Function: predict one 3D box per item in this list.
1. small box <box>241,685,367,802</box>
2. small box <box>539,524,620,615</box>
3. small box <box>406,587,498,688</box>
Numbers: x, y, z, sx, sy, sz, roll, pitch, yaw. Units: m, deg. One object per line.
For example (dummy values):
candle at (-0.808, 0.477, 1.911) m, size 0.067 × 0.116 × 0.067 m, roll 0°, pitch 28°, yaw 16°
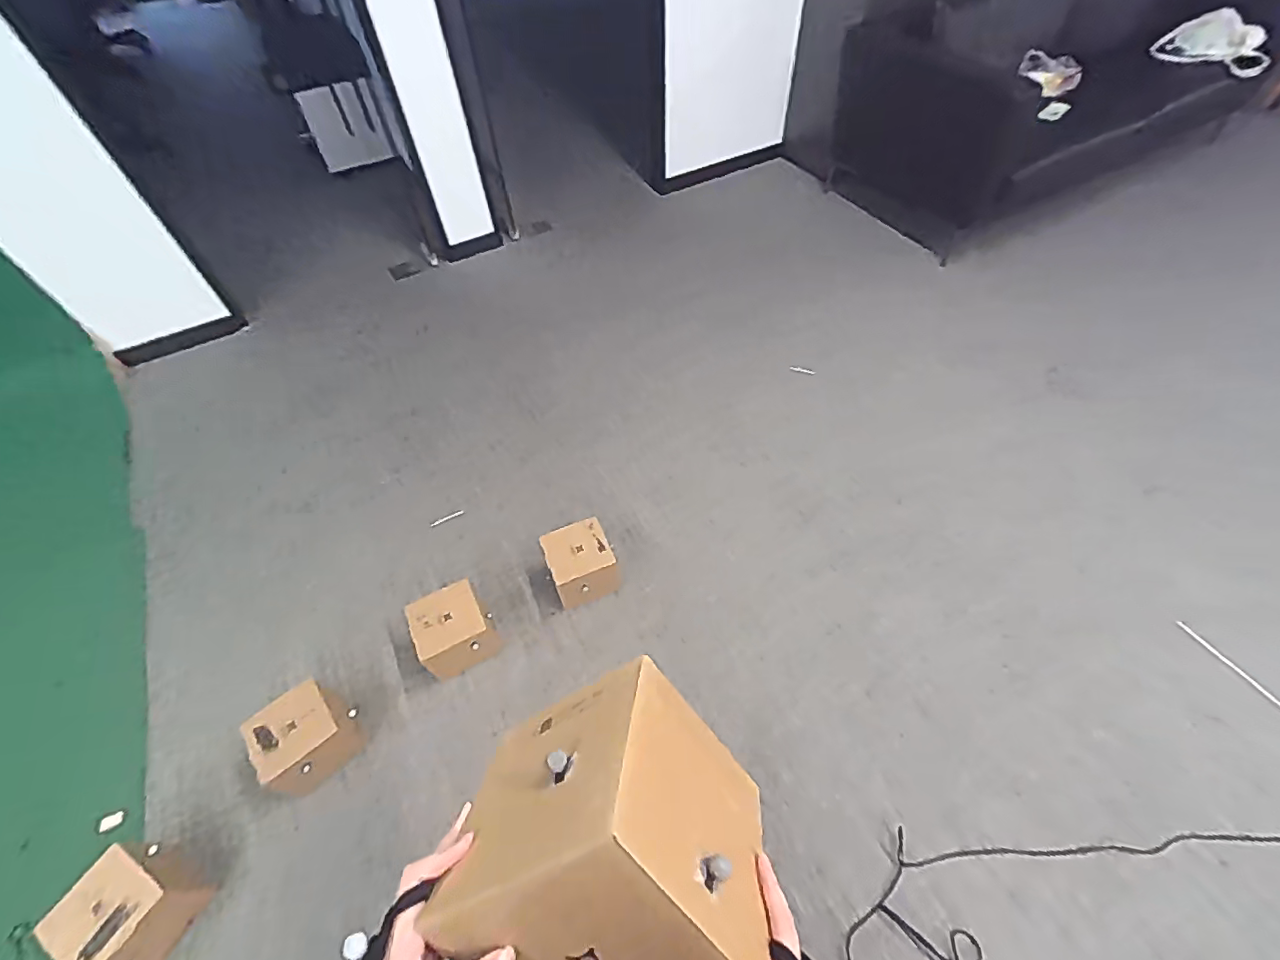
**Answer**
small box at (-0.794, 0.633, 1.291) m, size 0.179 × 0.176 × 0.168 m, roll -35°, pitch 59°, yaw -23°
small box at (-0.169, 0.261, 1.545) m, size 0.179 × 0.176 × 0.168 m, roll -21°, pitch 55°, yaw -12°
small box at (-0.491, 0.420, 1.439) m, size 0.179 × 0.176 × 0.168 m, roll -25°, pitch 55°, yaw -15°
